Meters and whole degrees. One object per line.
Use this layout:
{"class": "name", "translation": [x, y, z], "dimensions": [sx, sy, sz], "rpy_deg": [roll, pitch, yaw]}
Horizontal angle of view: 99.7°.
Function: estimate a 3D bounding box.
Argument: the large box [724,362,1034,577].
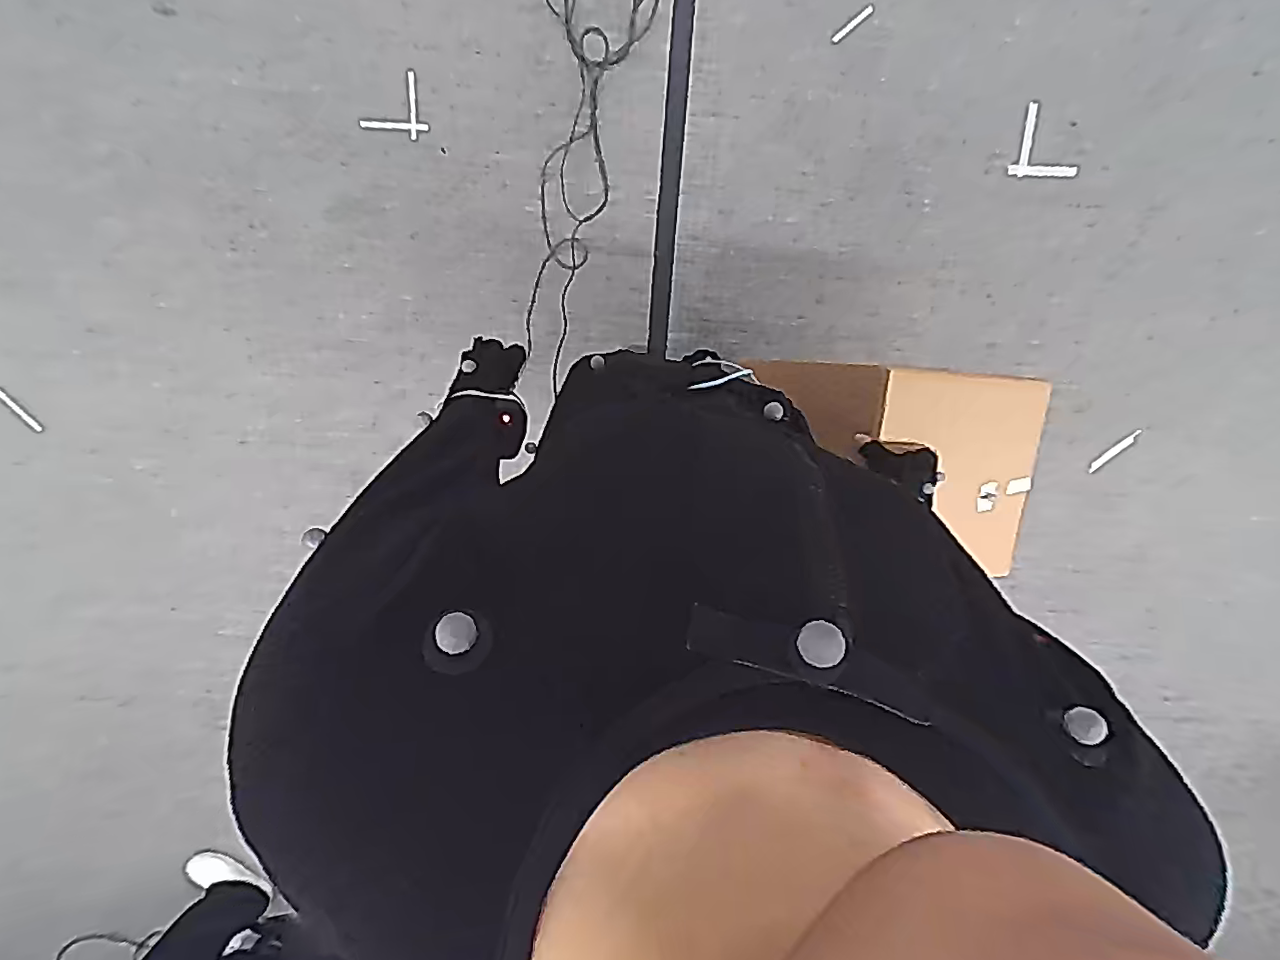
{"class": "large box", "translation": [0.394, -0.044, 0.984], "dimensions": [0.320, 0.408, 0.320], "rpy_deg": [1, 102, -20]}
